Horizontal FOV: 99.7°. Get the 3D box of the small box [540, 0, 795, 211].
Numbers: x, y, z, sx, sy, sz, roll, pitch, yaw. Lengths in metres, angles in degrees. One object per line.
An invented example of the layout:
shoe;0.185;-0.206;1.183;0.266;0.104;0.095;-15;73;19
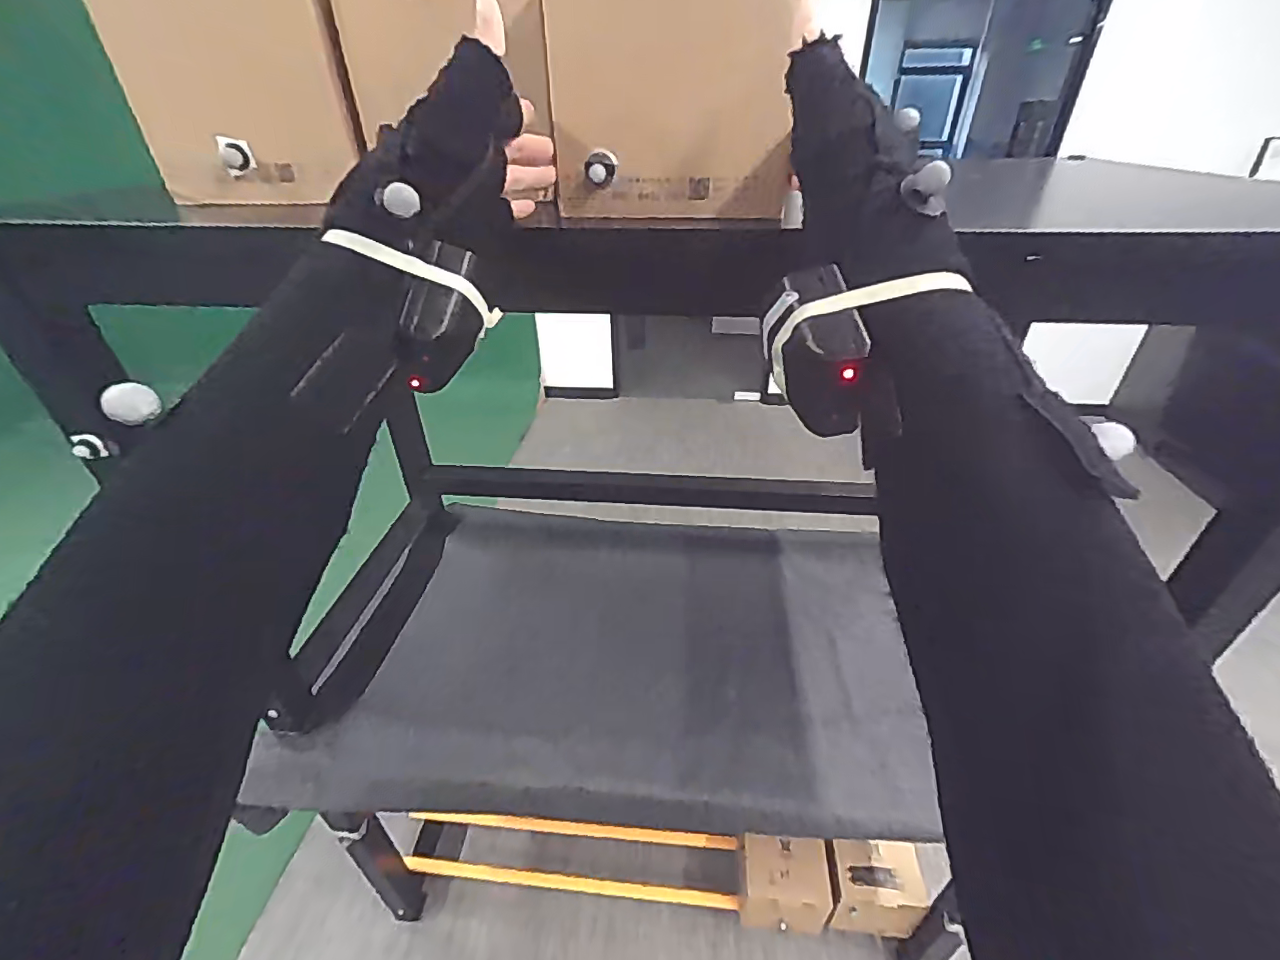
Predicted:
small box;0.028;-0.312;0.424;0.168;0.176;0.179;4;33;7
